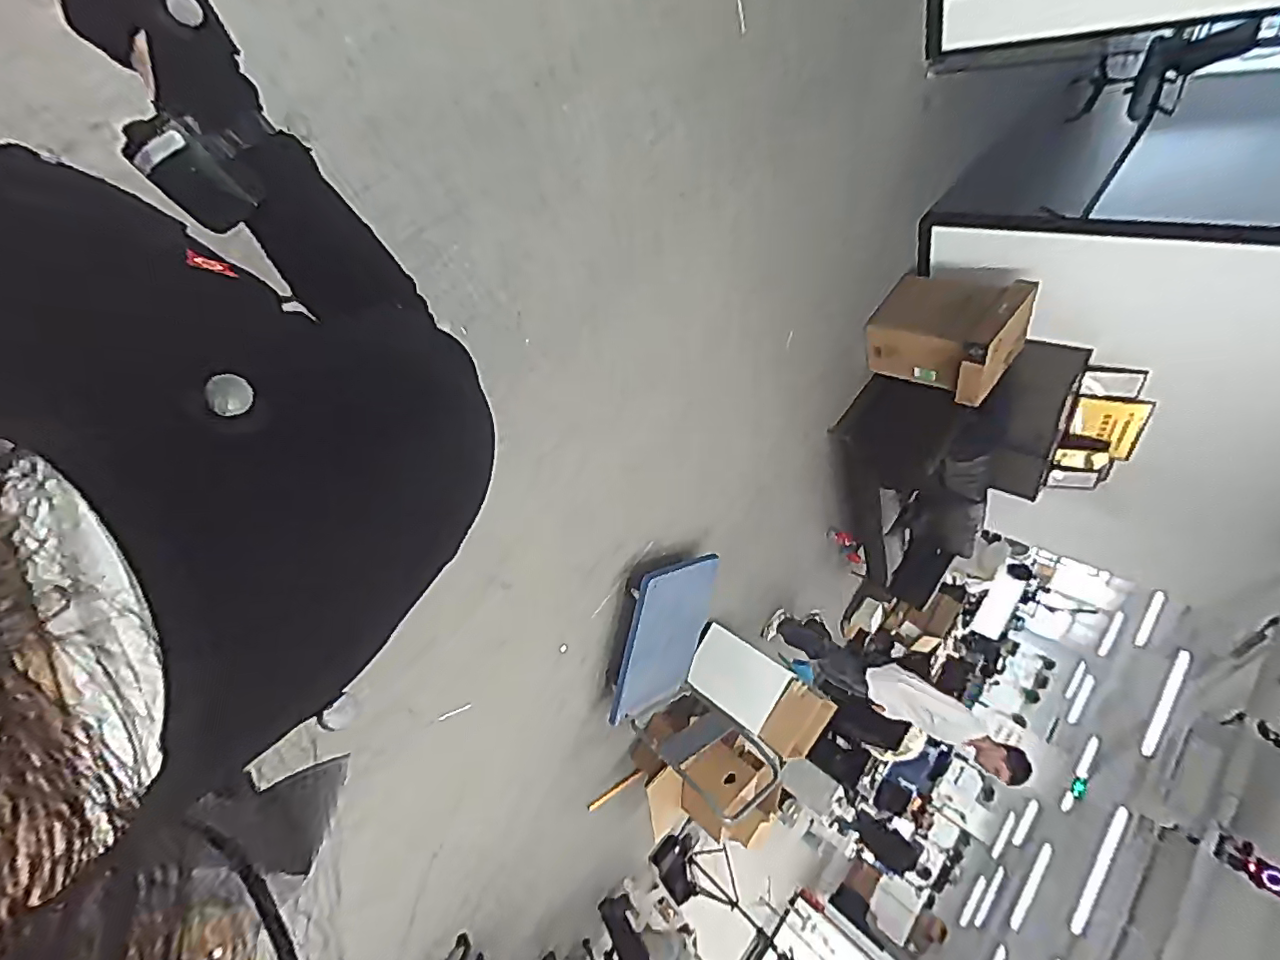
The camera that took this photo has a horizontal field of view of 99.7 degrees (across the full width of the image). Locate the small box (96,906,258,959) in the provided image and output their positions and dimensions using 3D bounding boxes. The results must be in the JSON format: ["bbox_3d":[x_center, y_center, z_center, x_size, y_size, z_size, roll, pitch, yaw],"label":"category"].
[{"bbox_3d":[-0.701,0.762,0.785,0.168,0.176,0.179,-50,140,-16],"label":"small box"}]
